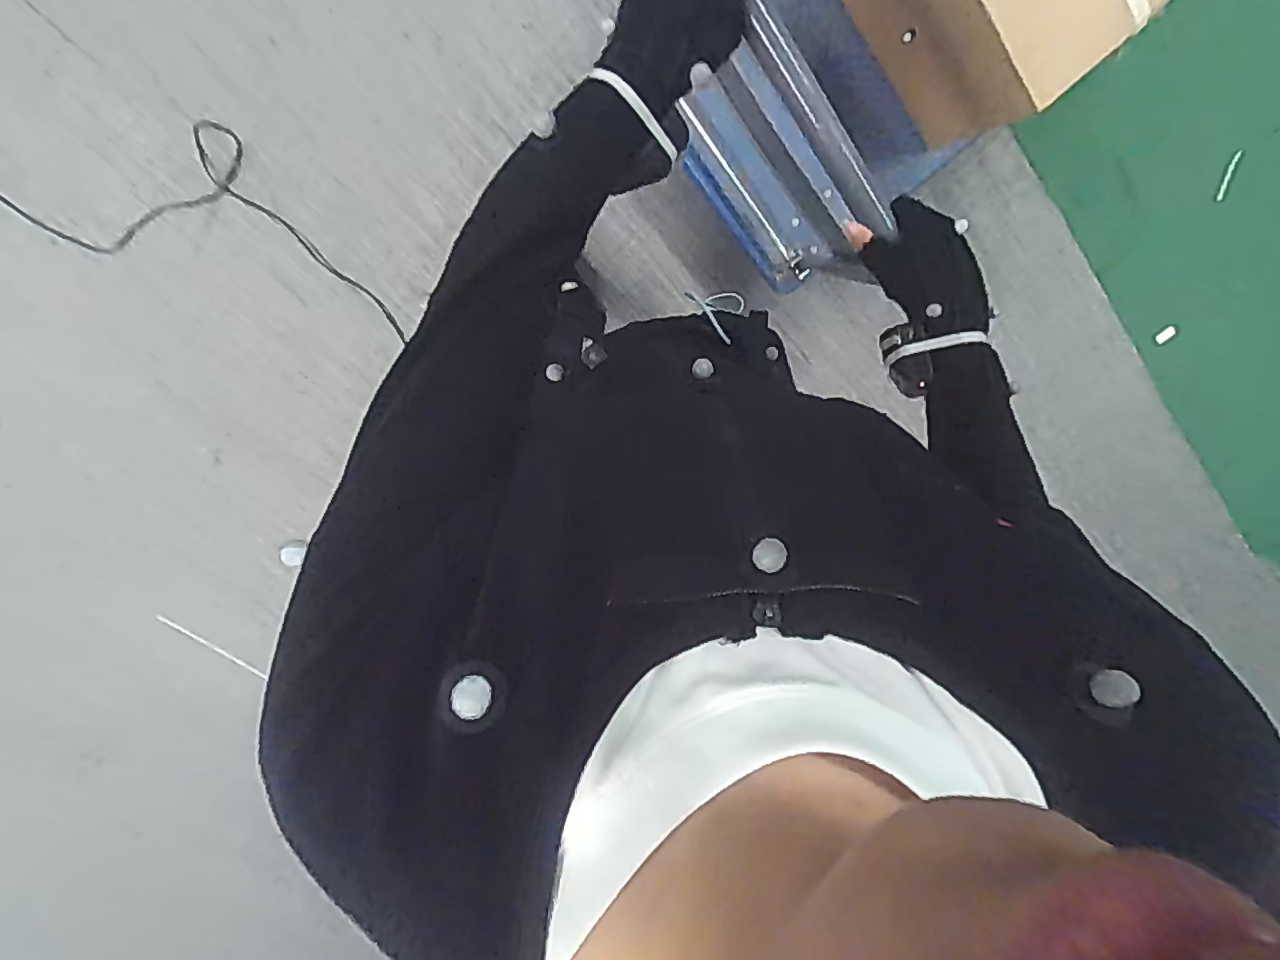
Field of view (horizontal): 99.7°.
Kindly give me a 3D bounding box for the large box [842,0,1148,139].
[{"bbox_3d":[0.558,-0.844,0.847,0.320,0.320,0.408,-42,107,13],"label":"large box"}]
